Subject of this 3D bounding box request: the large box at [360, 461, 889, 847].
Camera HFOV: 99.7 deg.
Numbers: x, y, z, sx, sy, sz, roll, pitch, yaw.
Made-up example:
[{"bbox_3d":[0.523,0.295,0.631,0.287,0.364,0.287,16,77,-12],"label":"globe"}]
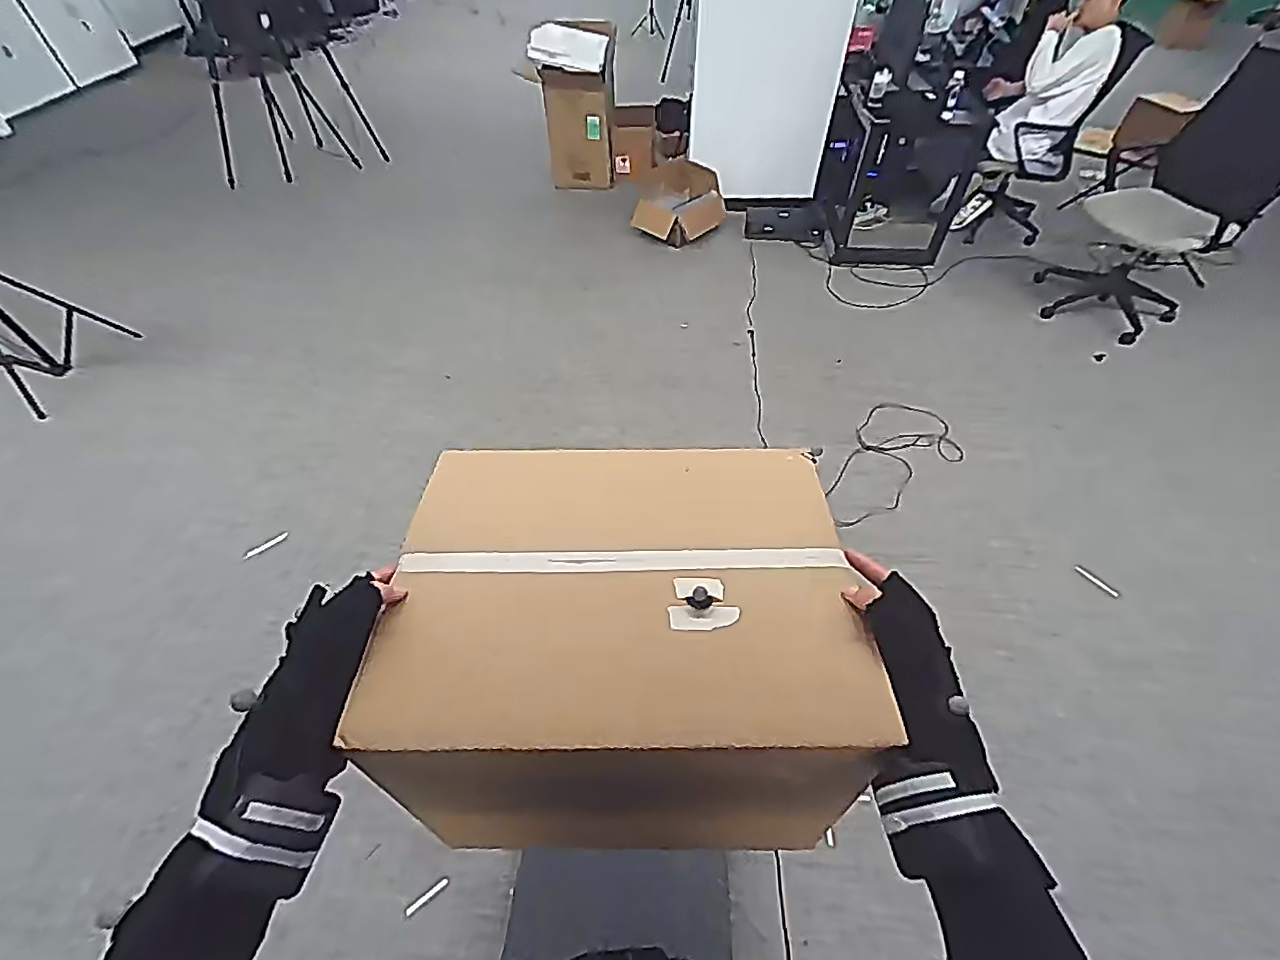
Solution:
[{"bbox_3d":[-0.013,0.193,0.608,0.408,0.320,0.320,0,45,0],"label":"large box"}]
